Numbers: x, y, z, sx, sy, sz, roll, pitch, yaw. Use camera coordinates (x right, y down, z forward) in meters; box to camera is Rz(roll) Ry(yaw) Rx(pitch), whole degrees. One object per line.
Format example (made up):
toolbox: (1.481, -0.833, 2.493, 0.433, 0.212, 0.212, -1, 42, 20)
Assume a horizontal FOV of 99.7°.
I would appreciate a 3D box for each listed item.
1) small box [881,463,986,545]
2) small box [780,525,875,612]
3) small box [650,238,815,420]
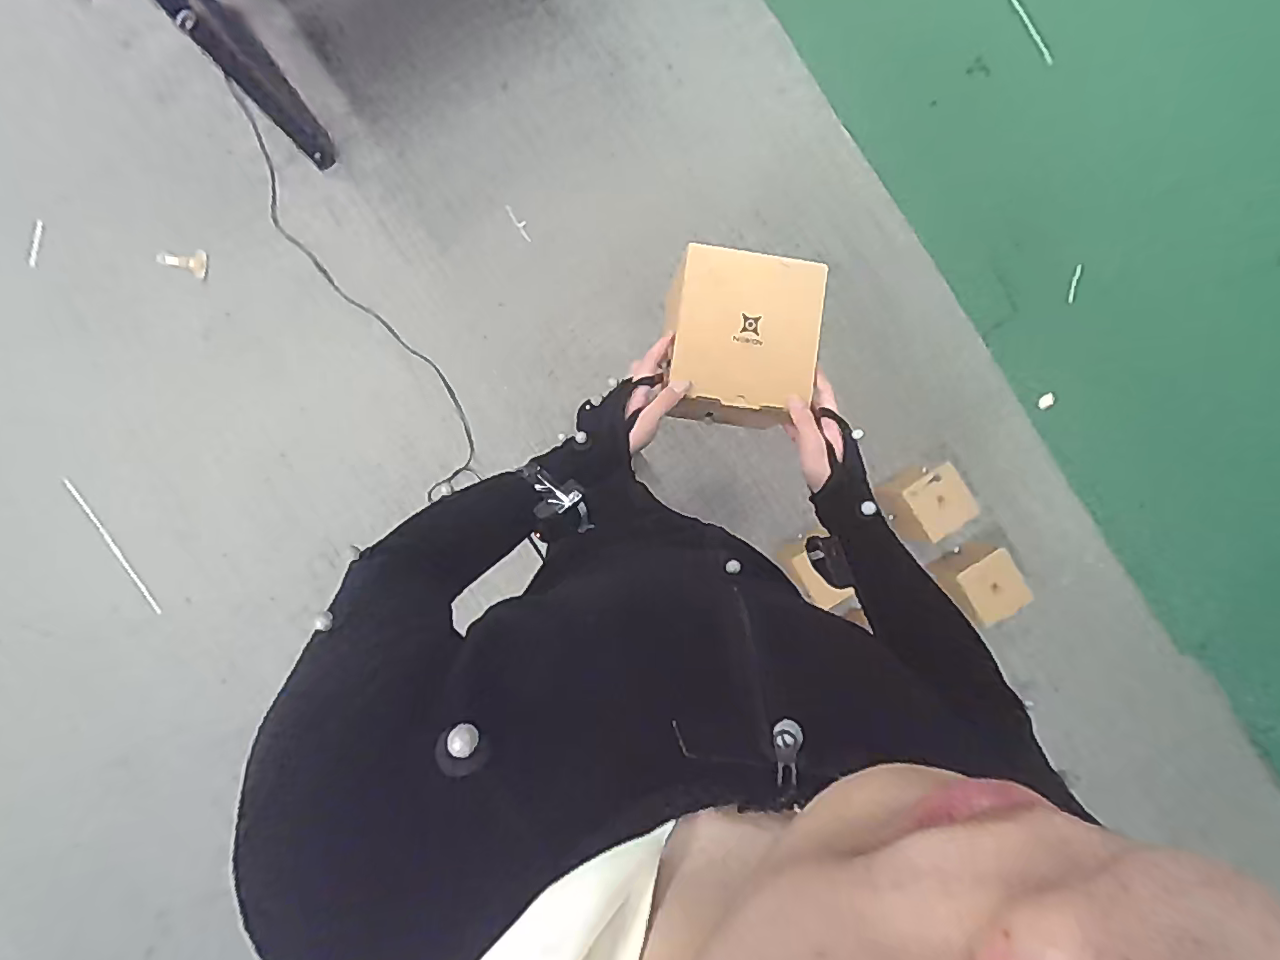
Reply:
small box: (0.837, 0.061, 1.559, 0.168, 0.176, 0.179, -32, 92, -1)
small box: (0.532, 0.247, 1.557, 0.168, 0.176, 0.179, -31, 91, 0)
small box: (0.106, -0.180, 0.695, 0.168, 0.176, 0.179, 7, 91, -3)
